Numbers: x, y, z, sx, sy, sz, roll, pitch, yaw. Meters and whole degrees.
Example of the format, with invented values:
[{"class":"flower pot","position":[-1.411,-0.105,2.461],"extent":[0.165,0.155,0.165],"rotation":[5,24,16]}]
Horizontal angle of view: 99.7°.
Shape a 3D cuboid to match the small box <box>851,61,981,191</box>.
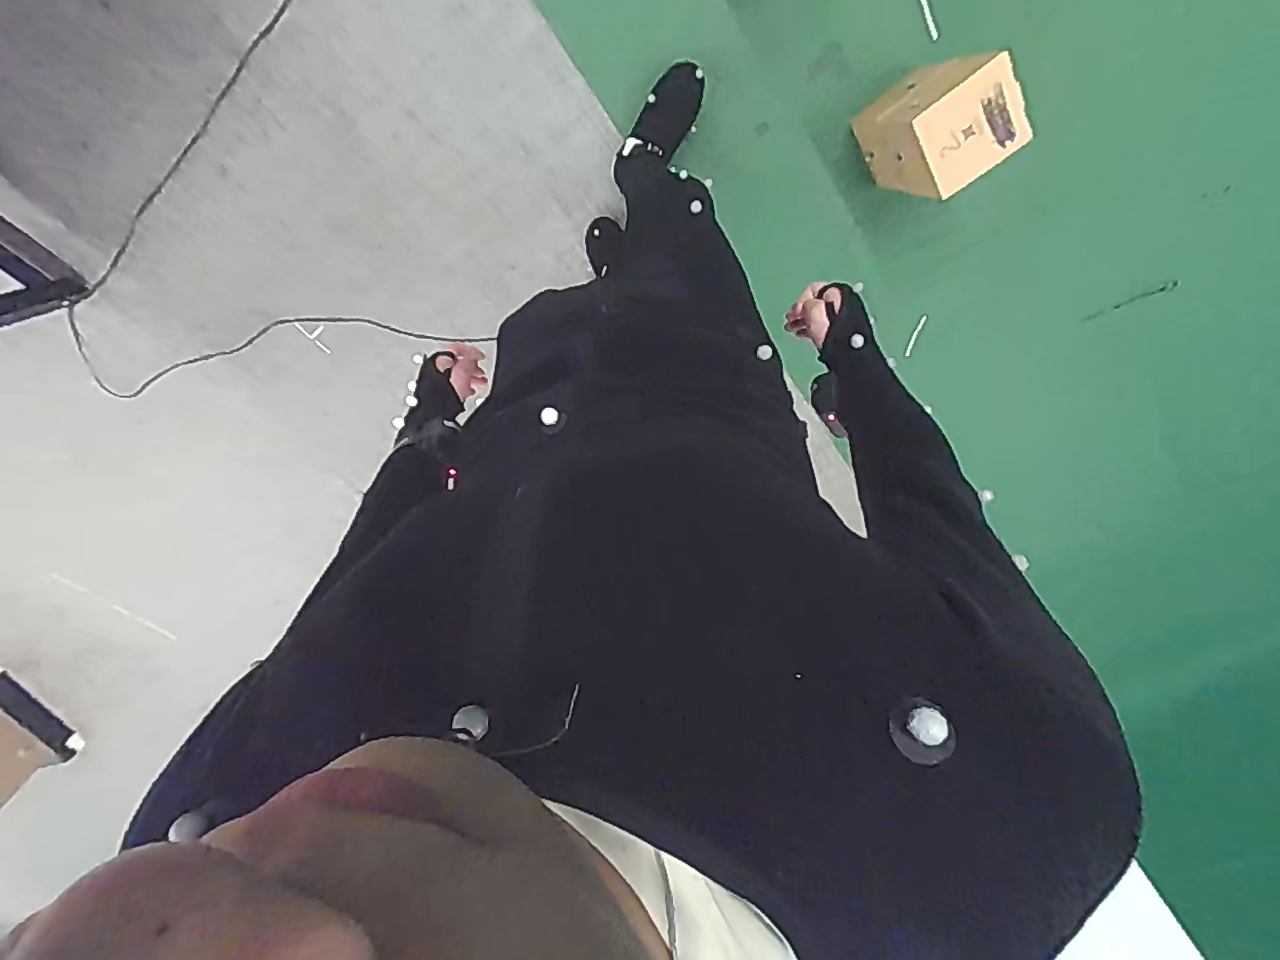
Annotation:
[{"class":"small box","position":[0.602,-0.777,1.194],"extent":[0.179,0.176,0.168],"rotation":[-32,118,19]}]
